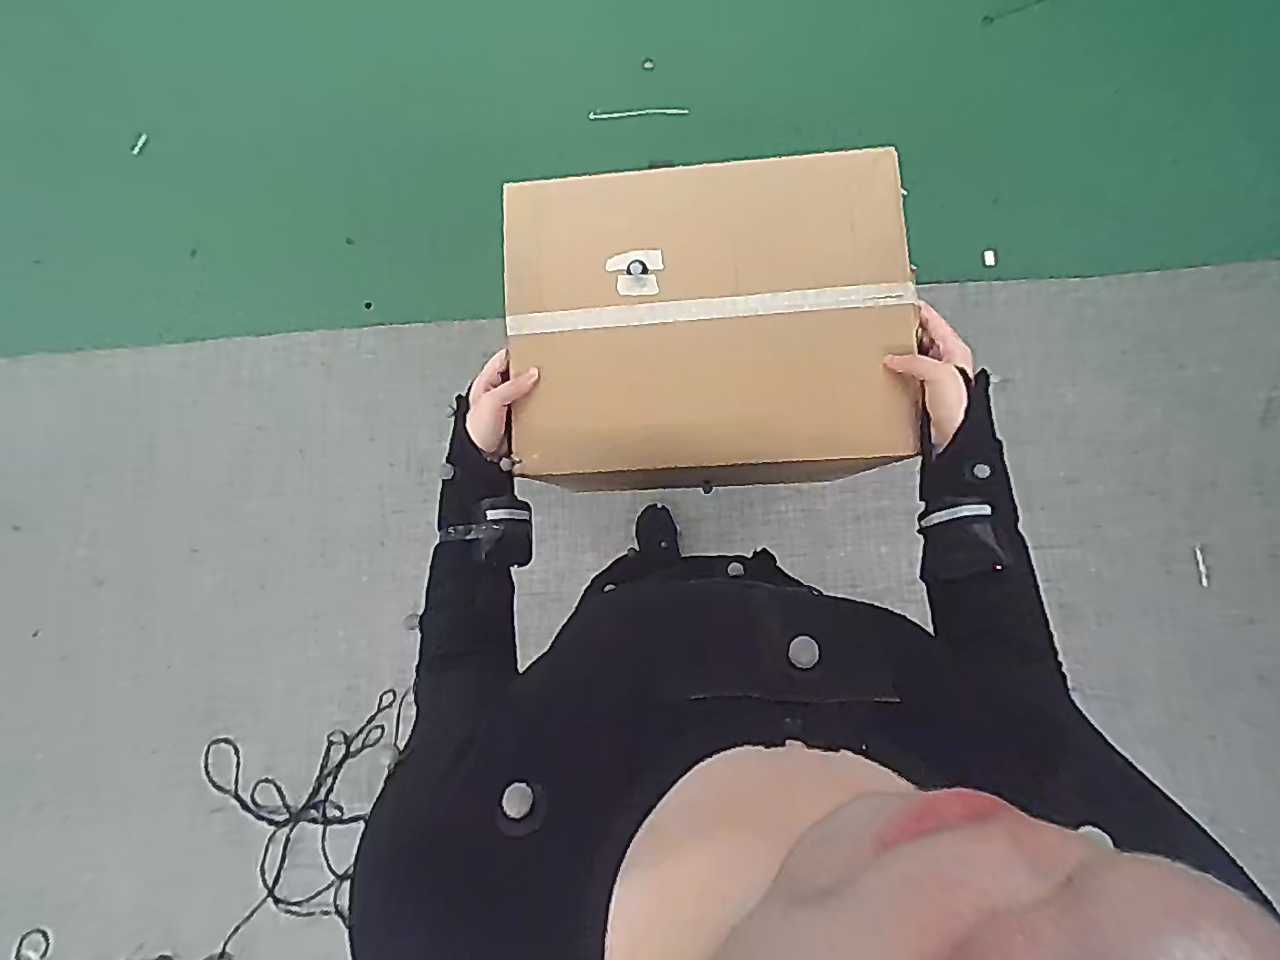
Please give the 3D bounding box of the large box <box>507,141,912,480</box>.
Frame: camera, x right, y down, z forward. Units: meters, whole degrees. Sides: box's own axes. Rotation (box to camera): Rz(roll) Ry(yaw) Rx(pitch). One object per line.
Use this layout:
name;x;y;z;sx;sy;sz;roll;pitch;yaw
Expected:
large box;0.078;-0.170;0.703;0.408;0.320;0.320;-3;85;6
